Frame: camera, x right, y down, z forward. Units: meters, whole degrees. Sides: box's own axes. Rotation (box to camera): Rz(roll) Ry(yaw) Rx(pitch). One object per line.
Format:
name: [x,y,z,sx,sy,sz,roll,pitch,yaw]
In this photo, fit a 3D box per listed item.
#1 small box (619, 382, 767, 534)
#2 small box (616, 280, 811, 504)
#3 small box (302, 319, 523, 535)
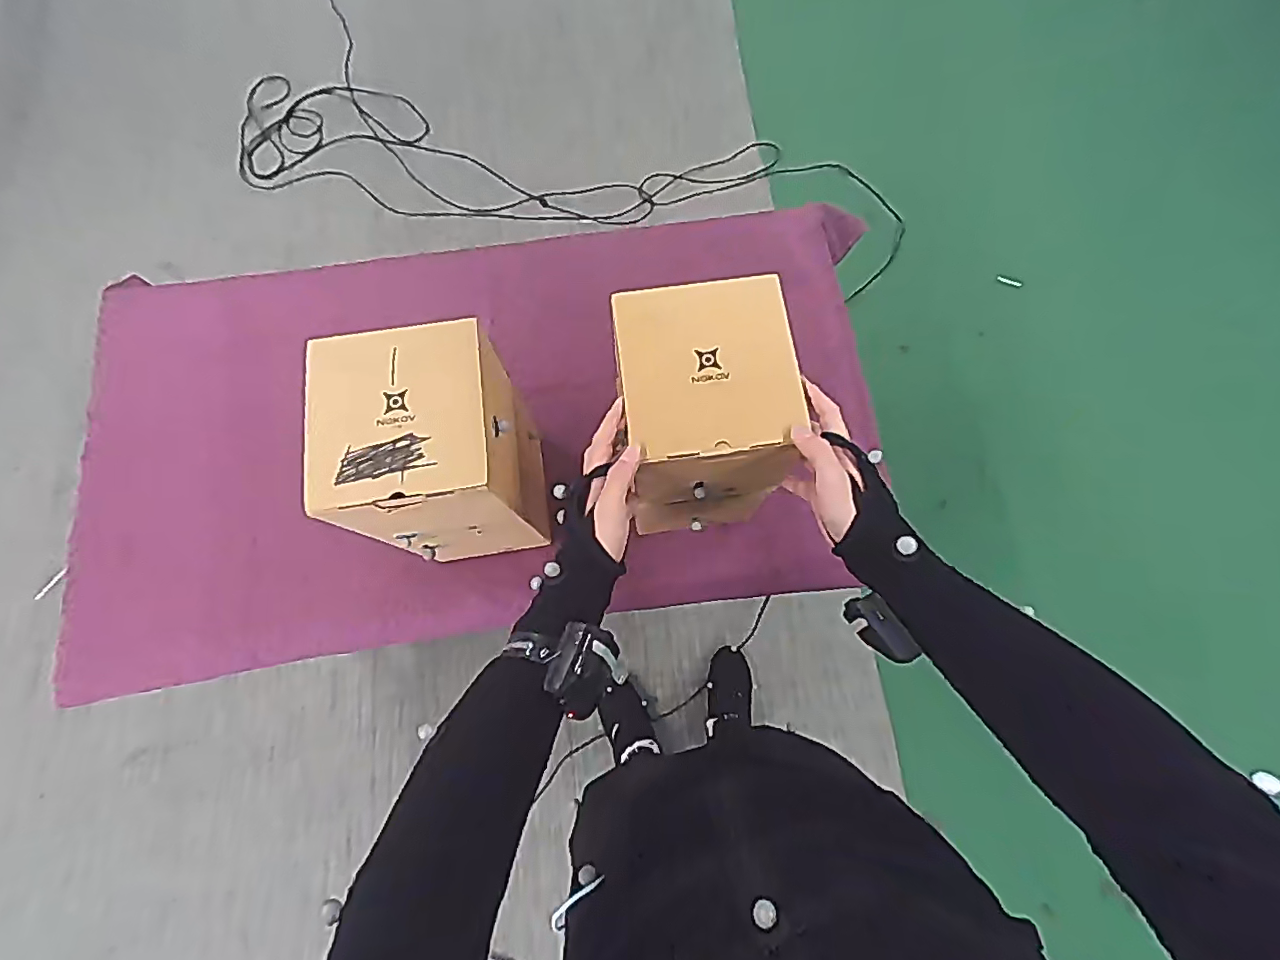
small box: [0.062,-0.034,0.742,0.168,0.176,0.179,-7,74,-1]
small box: [0.064,-0.084,0.580,0.168,0.176,0.179,-7,75,-1]
small box: [-0.226,-0.042,0.576,0.168,0.176,0.179,-8,73,-2]
